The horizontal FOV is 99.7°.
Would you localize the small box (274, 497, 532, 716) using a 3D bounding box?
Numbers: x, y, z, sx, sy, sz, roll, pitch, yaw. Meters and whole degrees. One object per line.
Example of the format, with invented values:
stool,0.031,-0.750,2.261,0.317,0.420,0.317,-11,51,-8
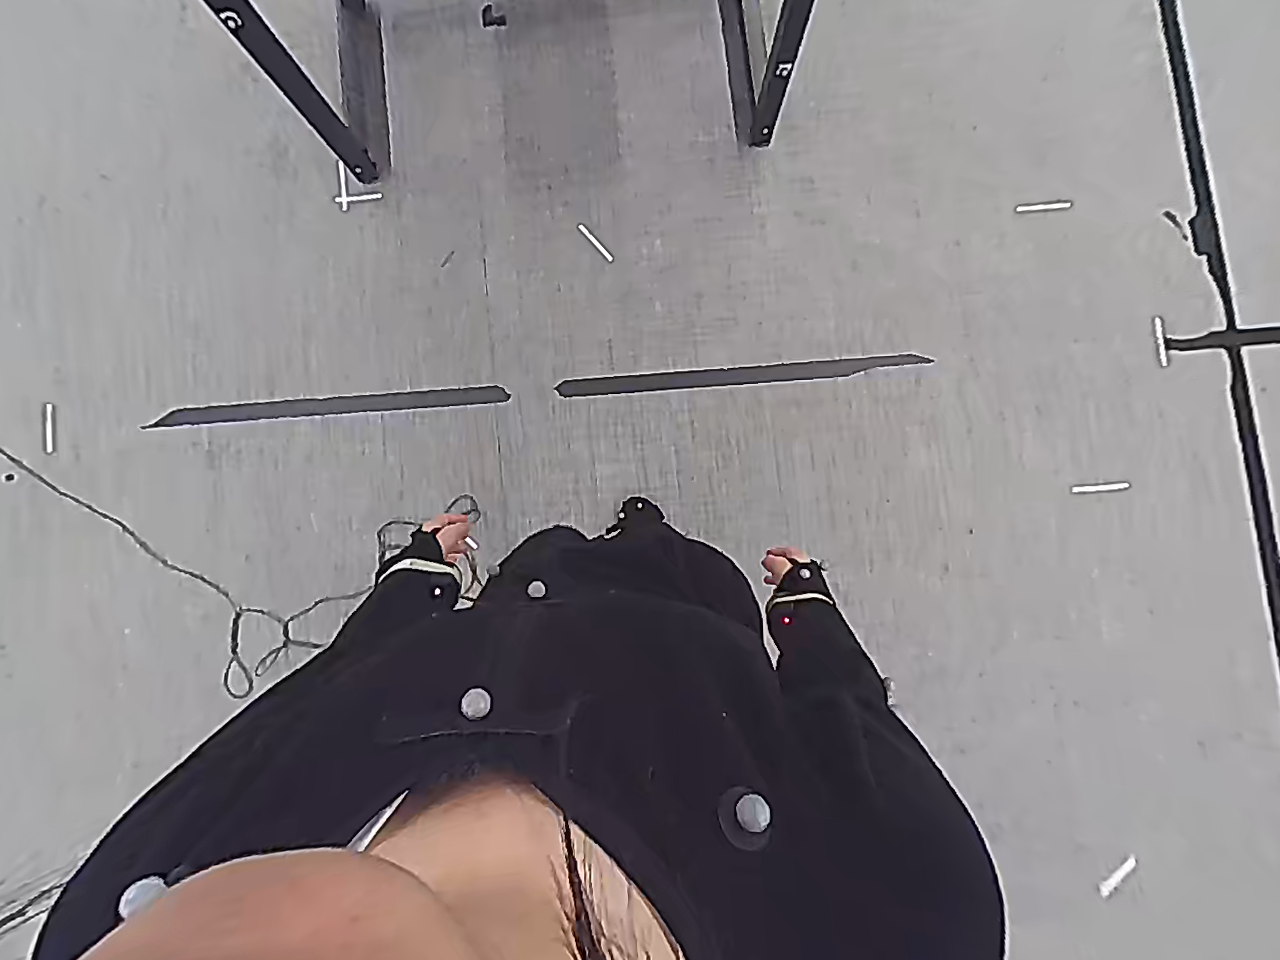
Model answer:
small box,-0.256,0.133,0.602,0.176,0.168,0.179,-11,101,26
